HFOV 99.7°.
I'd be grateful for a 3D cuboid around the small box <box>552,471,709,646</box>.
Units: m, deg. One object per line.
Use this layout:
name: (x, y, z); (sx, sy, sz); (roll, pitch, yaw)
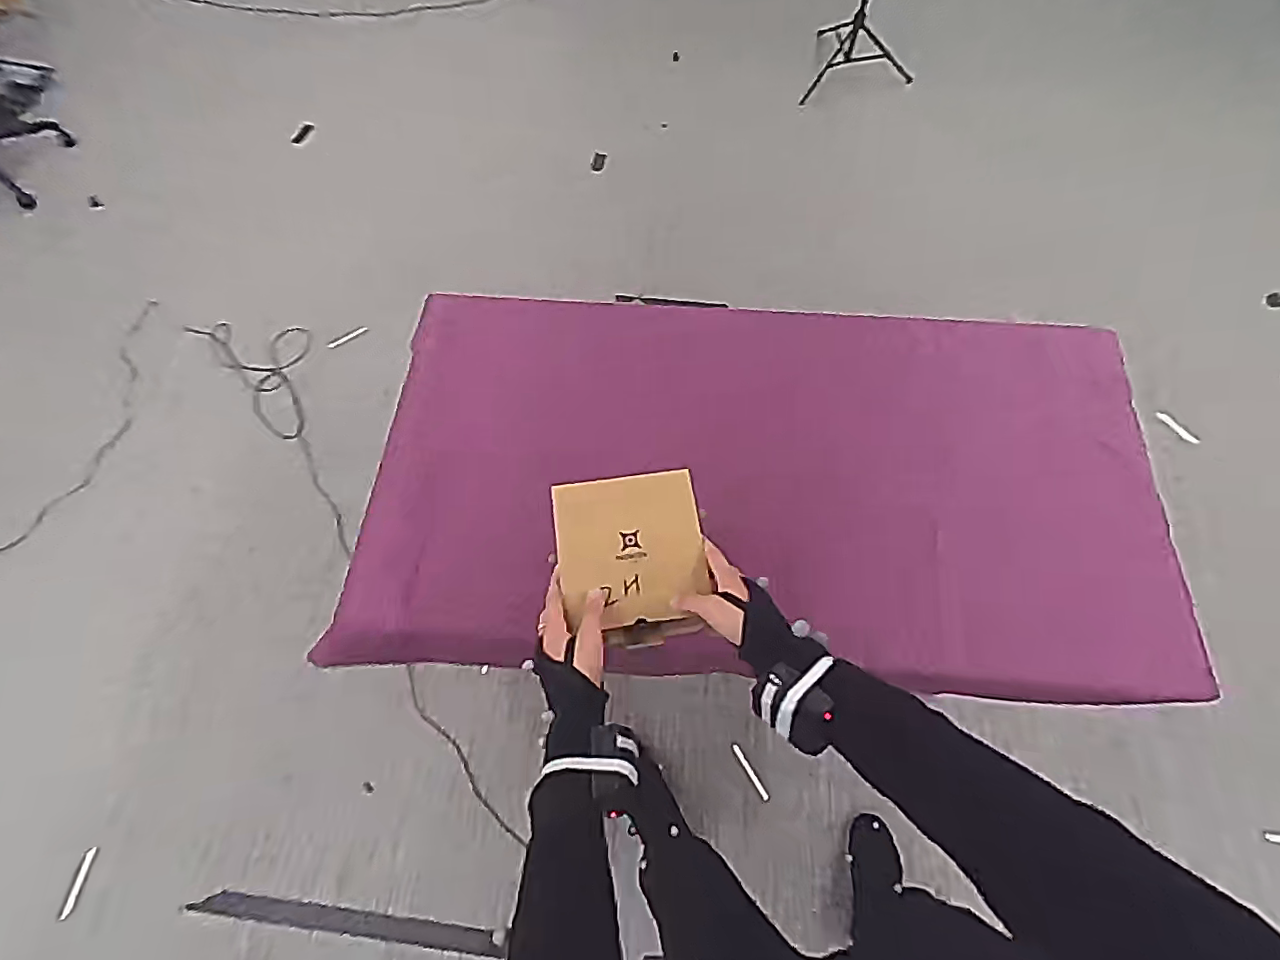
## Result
small box: (-0.016, 0.106, 0.690); (0.168, 0.176, 0.179); (-7, 69, -3)
